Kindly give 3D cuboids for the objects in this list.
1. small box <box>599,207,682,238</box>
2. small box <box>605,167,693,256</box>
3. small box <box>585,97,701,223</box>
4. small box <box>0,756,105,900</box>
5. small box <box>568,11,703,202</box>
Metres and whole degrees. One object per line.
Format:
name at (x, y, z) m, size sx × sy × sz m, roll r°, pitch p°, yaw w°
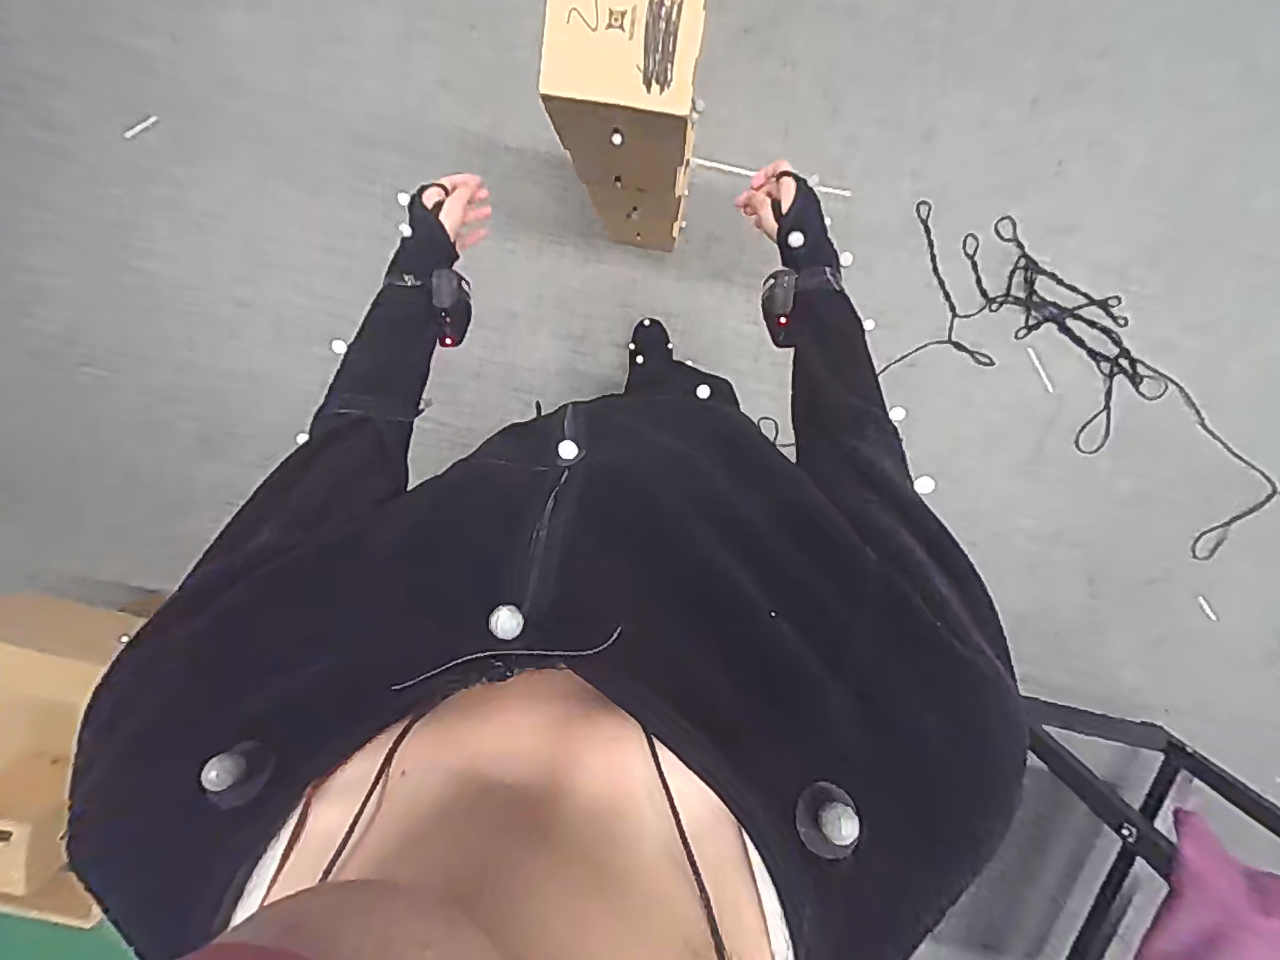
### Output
small box at (0.007, -0.631, 1.147) m, size 0.179 × 0.176 × 0.168 m, roll 12°, pitch 101°, yaw -1°
small box at (0.022, -0.656, 1.308) m, size 0.179 × 0.176 × 0.168 m, roll 11°, pitch 100°, yaw -1°
small box at (0.005, -0.587, 0.989) m, size 0.179 × 0.176 × 0.168 m, roll 10°, pitch 100°, yaw -1°
small box at (-1.288, 0.720, 1.137) m, size 0.168 × 0.176 × 0.179 m, roll 15°, pitch 100°, yaw -2°
small box at (-0.006, -0.556, 0.829) m, size 0.168 × 0.176 × 0.179 m, roll 10°, pitch 102°, yaw 0°
